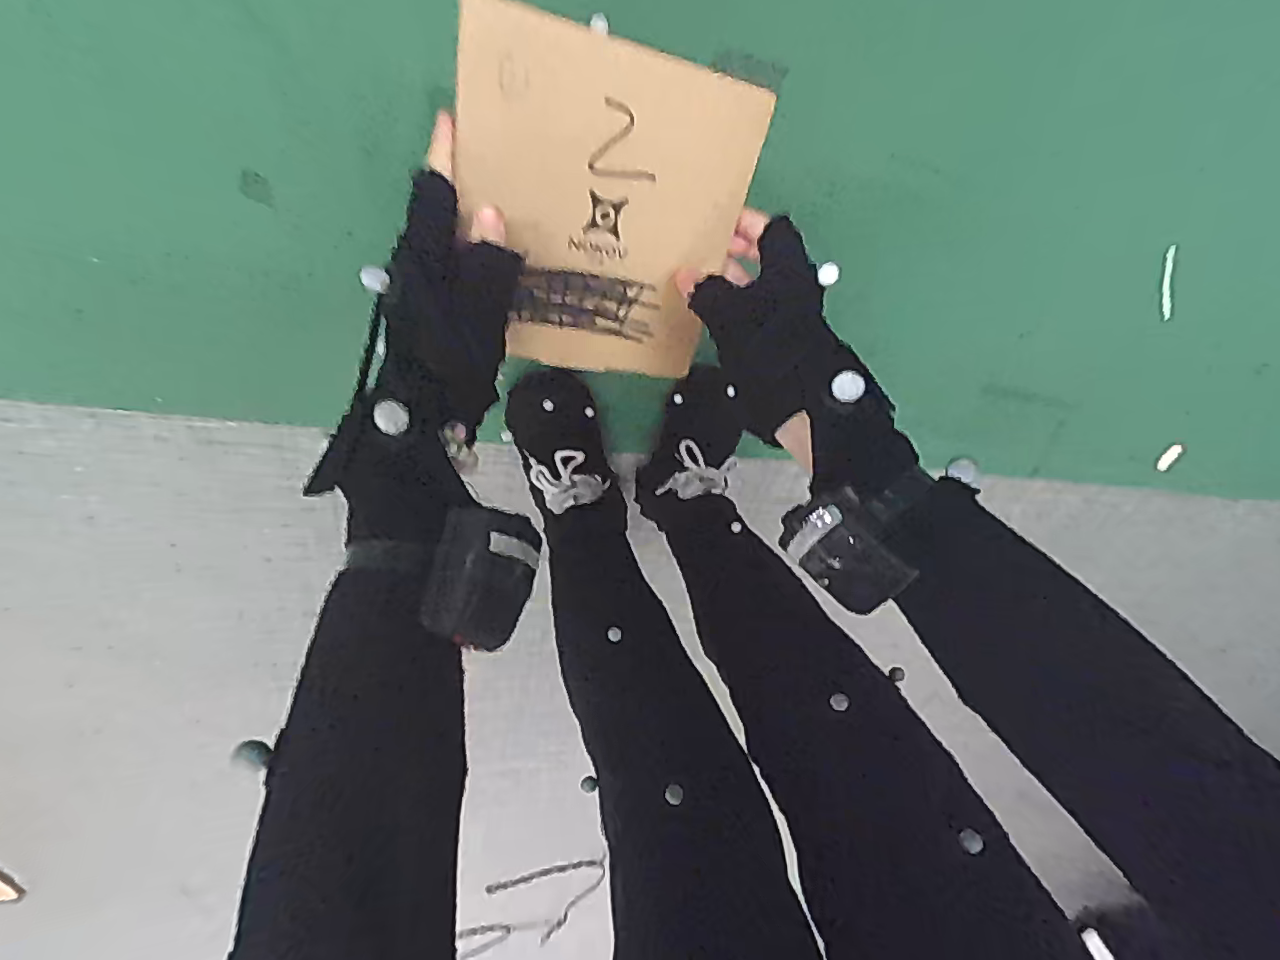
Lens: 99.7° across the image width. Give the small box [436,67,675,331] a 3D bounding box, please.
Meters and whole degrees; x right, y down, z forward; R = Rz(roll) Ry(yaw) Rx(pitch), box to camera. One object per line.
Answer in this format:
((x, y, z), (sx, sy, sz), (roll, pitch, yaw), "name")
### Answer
((-0.089, -0.270, 0.531), (0.179, 0.176, 0.168), (10, 121, -18), "small box")
